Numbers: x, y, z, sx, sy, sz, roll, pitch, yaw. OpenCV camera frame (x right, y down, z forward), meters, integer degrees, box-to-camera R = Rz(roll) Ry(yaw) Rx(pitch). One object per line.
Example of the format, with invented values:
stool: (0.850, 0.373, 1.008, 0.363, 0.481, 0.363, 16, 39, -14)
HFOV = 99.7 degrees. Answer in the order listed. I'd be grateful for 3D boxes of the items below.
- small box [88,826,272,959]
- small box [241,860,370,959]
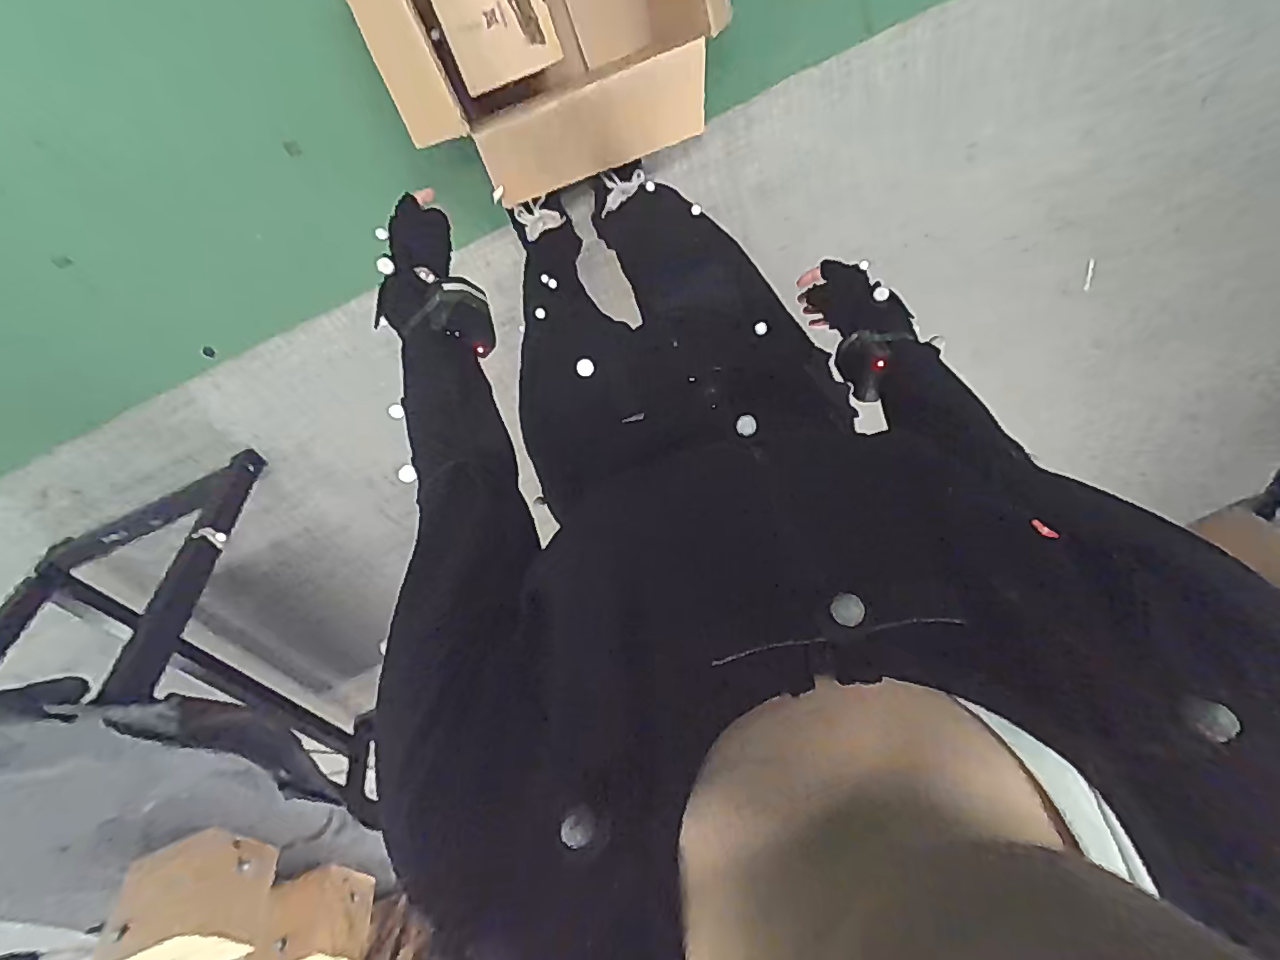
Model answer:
small box: (-0.821, 0.773, 0.988, 0.179, 0.176, 0.168, -24, 131, 0)
small box: (-0.723, 0.976, 1.184, 0.179, 0.176, 0.168, -25, 130, 0)
